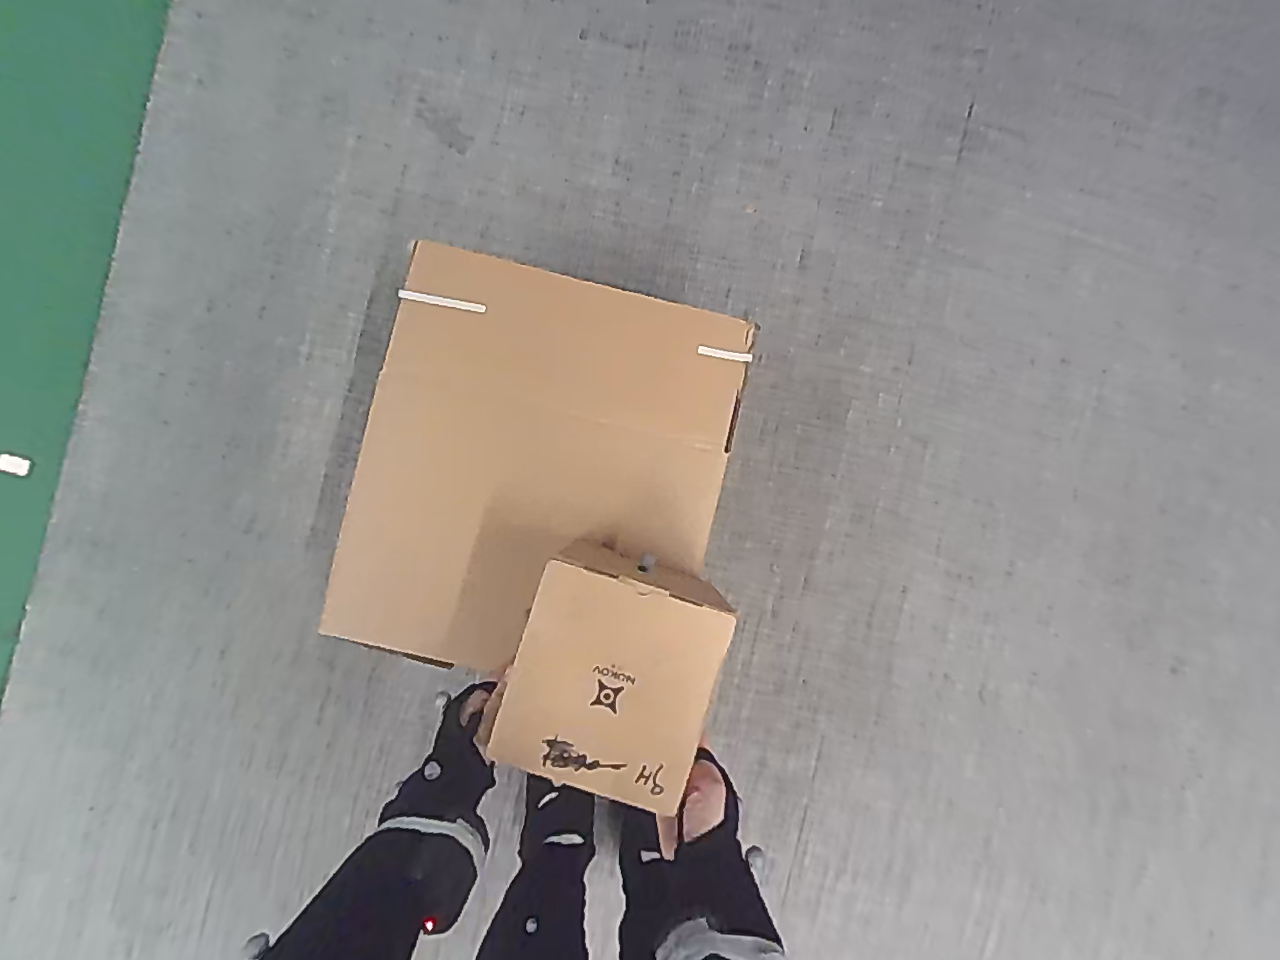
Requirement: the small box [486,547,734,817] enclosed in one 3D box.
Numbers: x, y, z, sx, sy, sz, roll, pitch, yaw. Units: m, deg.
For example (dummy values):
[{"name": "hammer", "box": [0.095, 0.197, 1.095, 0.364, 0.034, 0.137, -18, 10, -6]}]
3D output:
[{"name": "small box", "box": [-0.026, 0.172, 0.525, 0.168, 0.176, 0.179, 18, 88, 0]}]
